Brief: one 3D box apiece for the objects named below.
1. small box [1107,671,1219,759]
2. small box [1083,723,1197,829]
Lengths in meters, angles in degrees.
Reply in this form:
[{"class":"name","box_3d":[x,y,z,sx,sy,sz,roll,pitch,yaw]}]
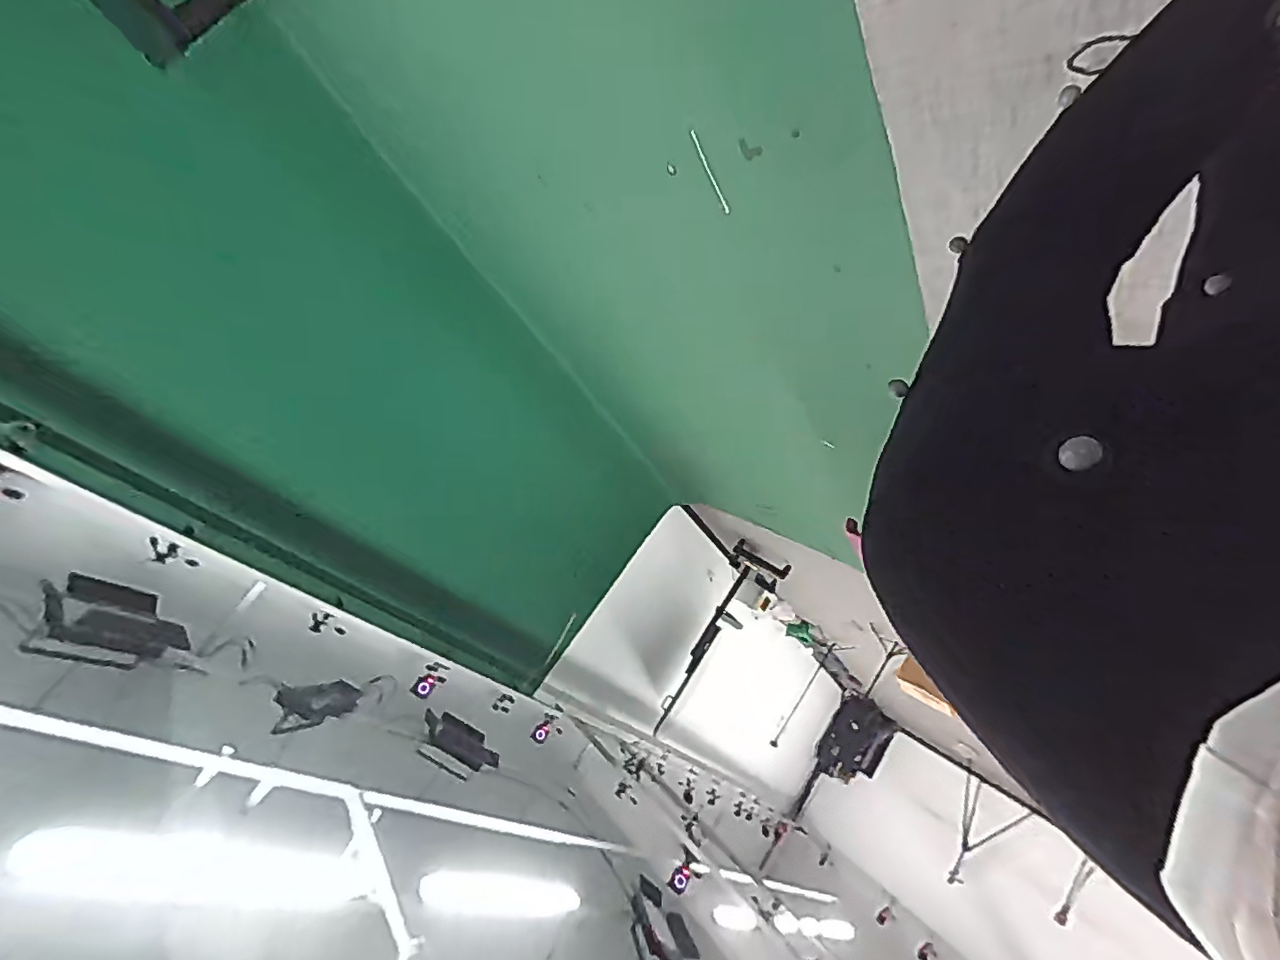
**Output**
[{"class":"small box","box_3d":[1.394,0.637,1.448,0.179,0.176,0.168,20,159,49]},{"class":"small box","box_3d":[1.289,0.757,1.403,0.179,0.176,0.168,21,160,48]}]
